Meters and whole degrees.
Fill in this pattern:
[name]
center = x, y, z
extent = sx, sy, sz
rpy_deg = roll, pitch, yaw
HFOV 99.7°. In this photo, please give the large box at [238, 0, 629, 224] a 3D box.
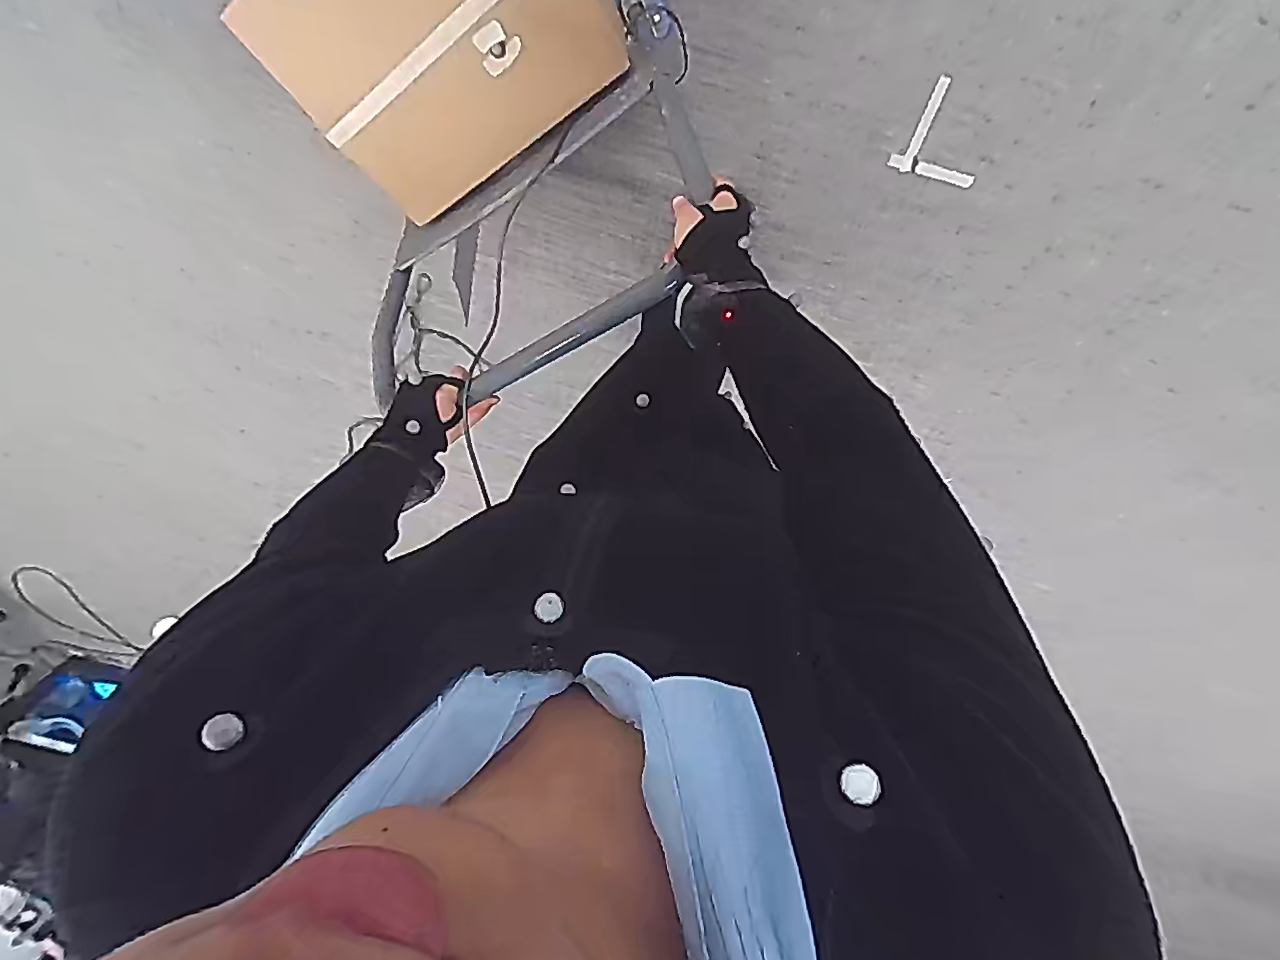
[large box]
center = -0.270, -0.678, 0.796
extent = 0.408, 0.320, 0.320
rpy_deg = -25, 137, 21
